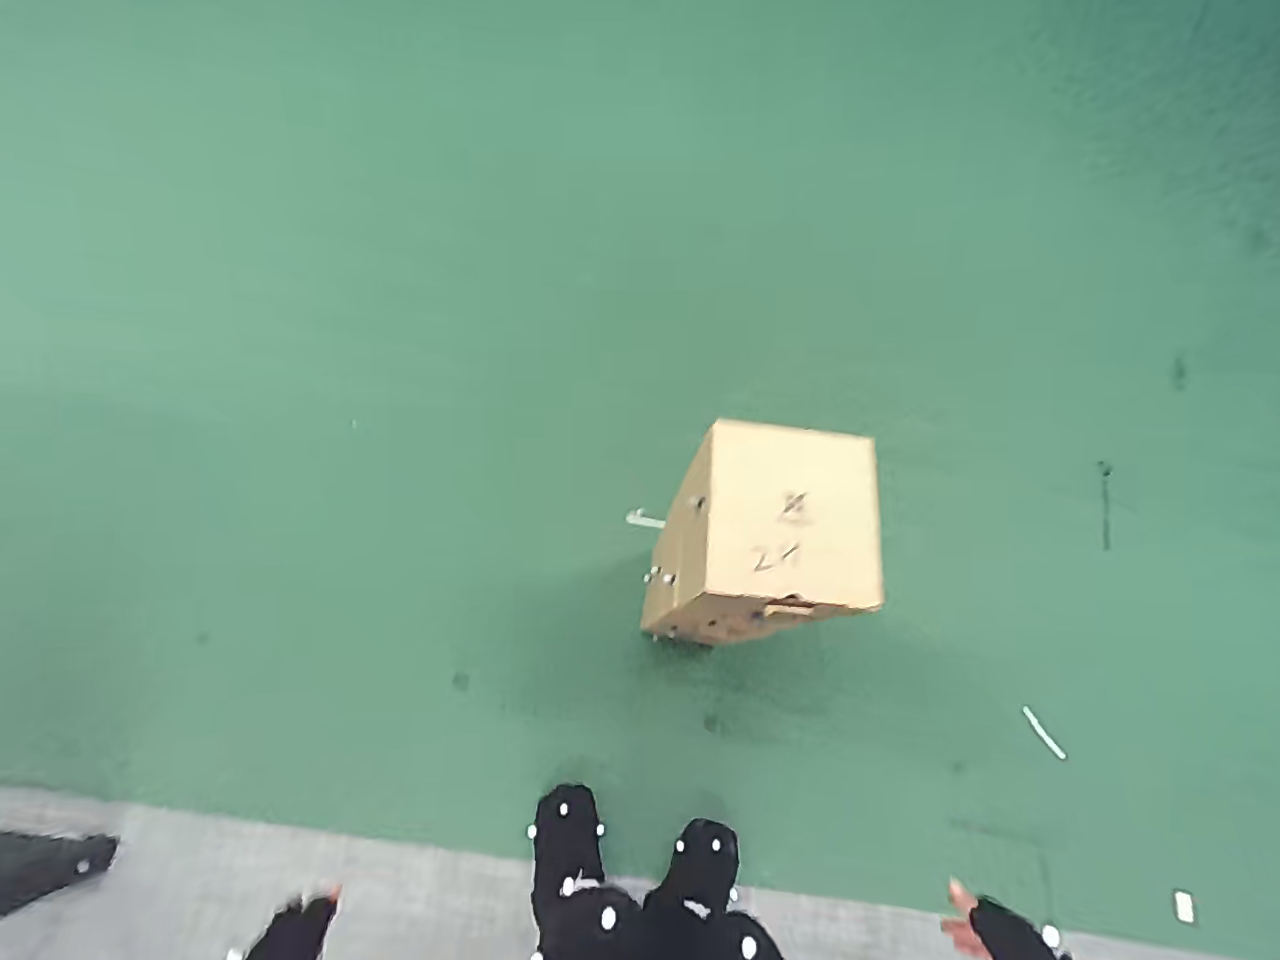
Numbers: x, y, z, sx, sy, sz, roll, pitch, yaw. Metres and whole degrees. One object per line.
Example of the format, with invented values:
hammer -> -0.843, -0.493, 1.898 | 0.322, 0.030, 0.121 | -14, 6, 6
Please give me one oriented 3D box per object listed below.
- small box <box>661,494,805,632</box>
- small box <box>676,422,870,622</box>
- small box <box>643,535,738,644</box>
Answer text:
small box -> 0.124, 0.112, 0.763 | 0.168, 0.176, 0.179 | 7, 71, -3
small box -> 0.137, 0.057, 0.609 | 0.168, 0.176, 0.179 | 7, 71, -3
small box -> 0.102, 0.224, 1.071 | 0.168, 0.176, 0.179 | 10, 70, -2
